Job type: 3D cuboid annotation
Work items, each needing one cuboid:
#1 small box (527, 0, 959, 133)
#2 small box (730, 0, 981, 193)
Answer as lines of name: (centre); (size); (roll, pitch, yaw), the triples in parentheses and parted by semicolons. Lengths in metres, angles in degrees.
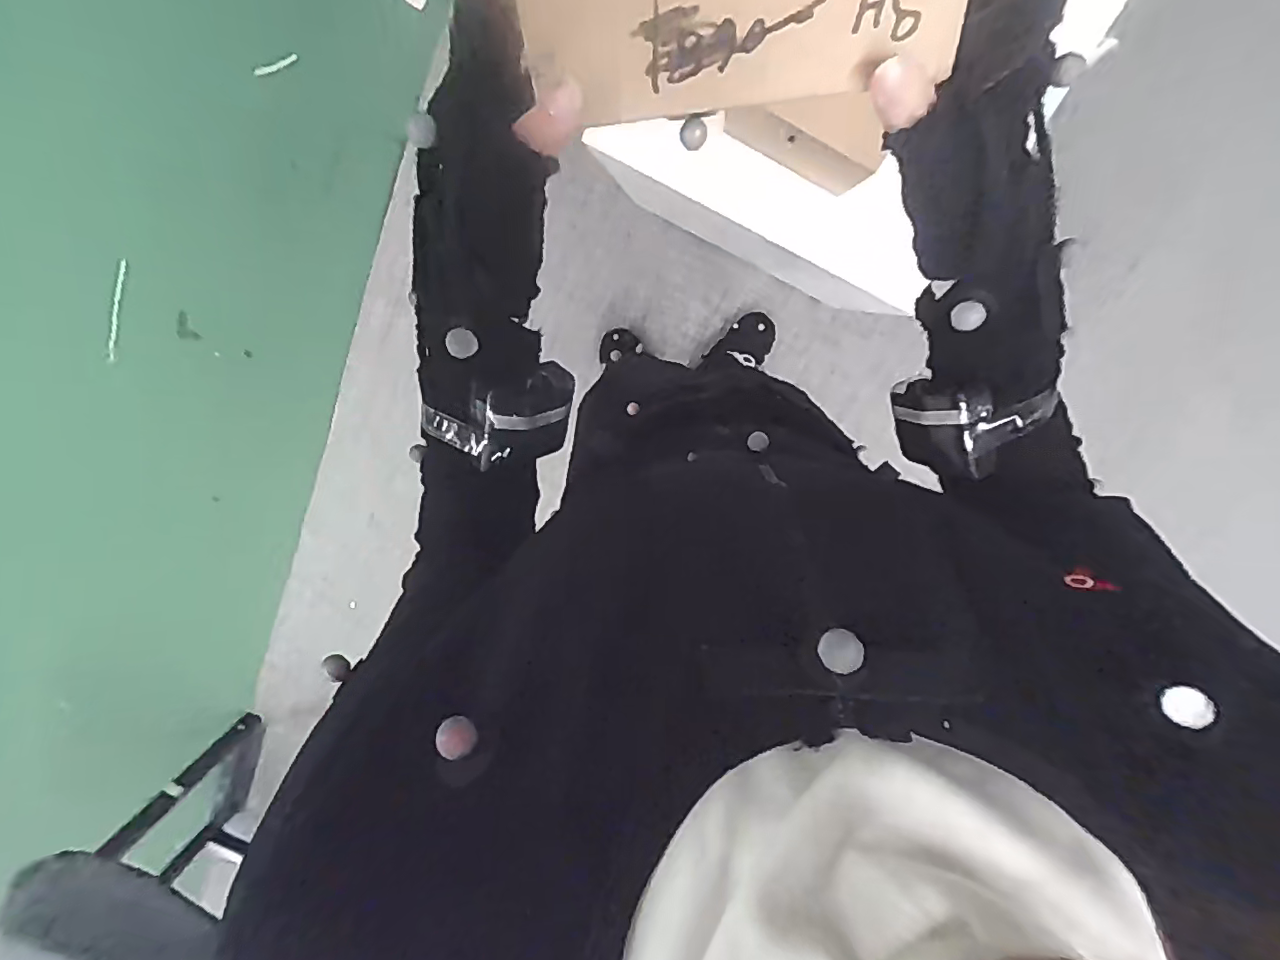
small box: (0.030, -0.273, 0.239); (0.168, 0.176, 0.179); (-8, 126, 6)
small box: (0.211, -0.442, 0.592); (0.179, 0.176, 0.168); (28, 111, -3)
